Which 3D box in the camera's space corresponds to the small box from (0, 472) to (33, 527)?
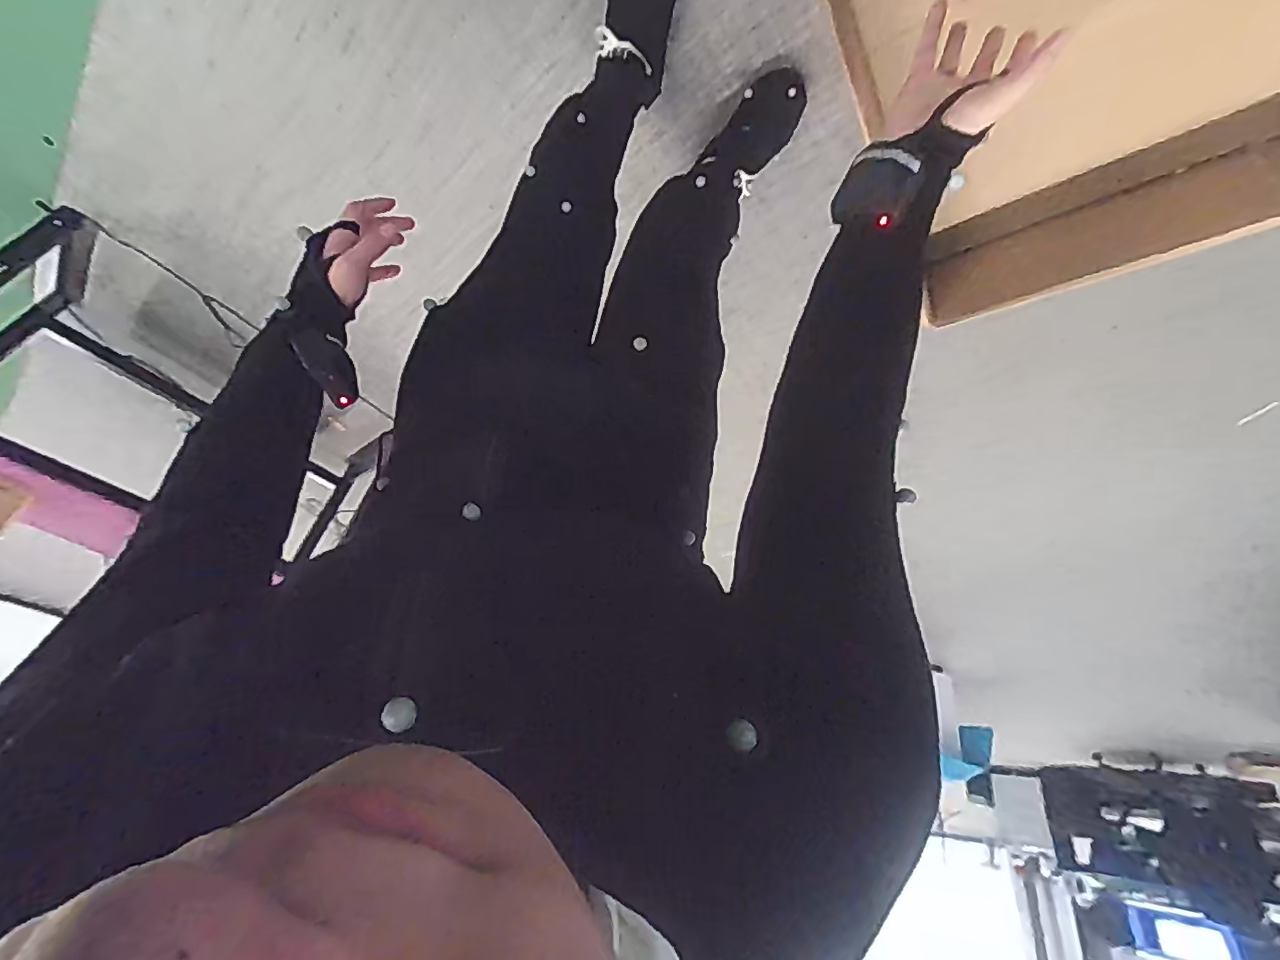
[{"bbox_3d":[-1.771,0.057,1.425,0.179,0.176,0.168,-15,139,36],"label":"small box"}]
